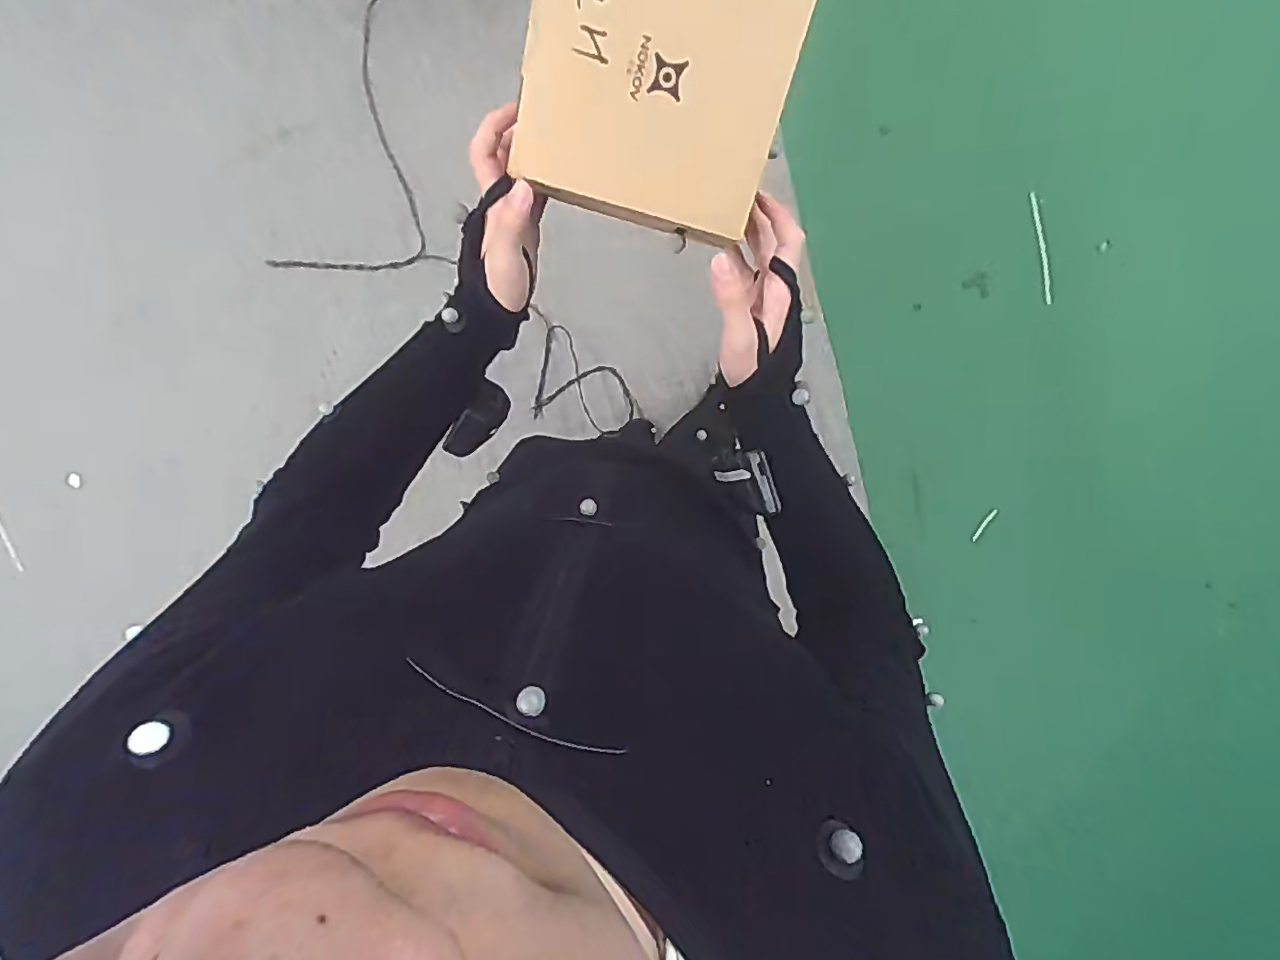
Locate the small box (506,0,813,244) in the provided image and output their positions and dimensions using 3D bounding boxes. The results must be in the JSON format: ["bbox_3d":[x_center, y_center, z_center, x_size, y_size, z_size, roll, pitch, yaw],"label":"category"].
[{"bbox_3d":[0.014,-0.295,0.429,0.179,0.176,0.168,15,111,-1],"label":"small box"}]
